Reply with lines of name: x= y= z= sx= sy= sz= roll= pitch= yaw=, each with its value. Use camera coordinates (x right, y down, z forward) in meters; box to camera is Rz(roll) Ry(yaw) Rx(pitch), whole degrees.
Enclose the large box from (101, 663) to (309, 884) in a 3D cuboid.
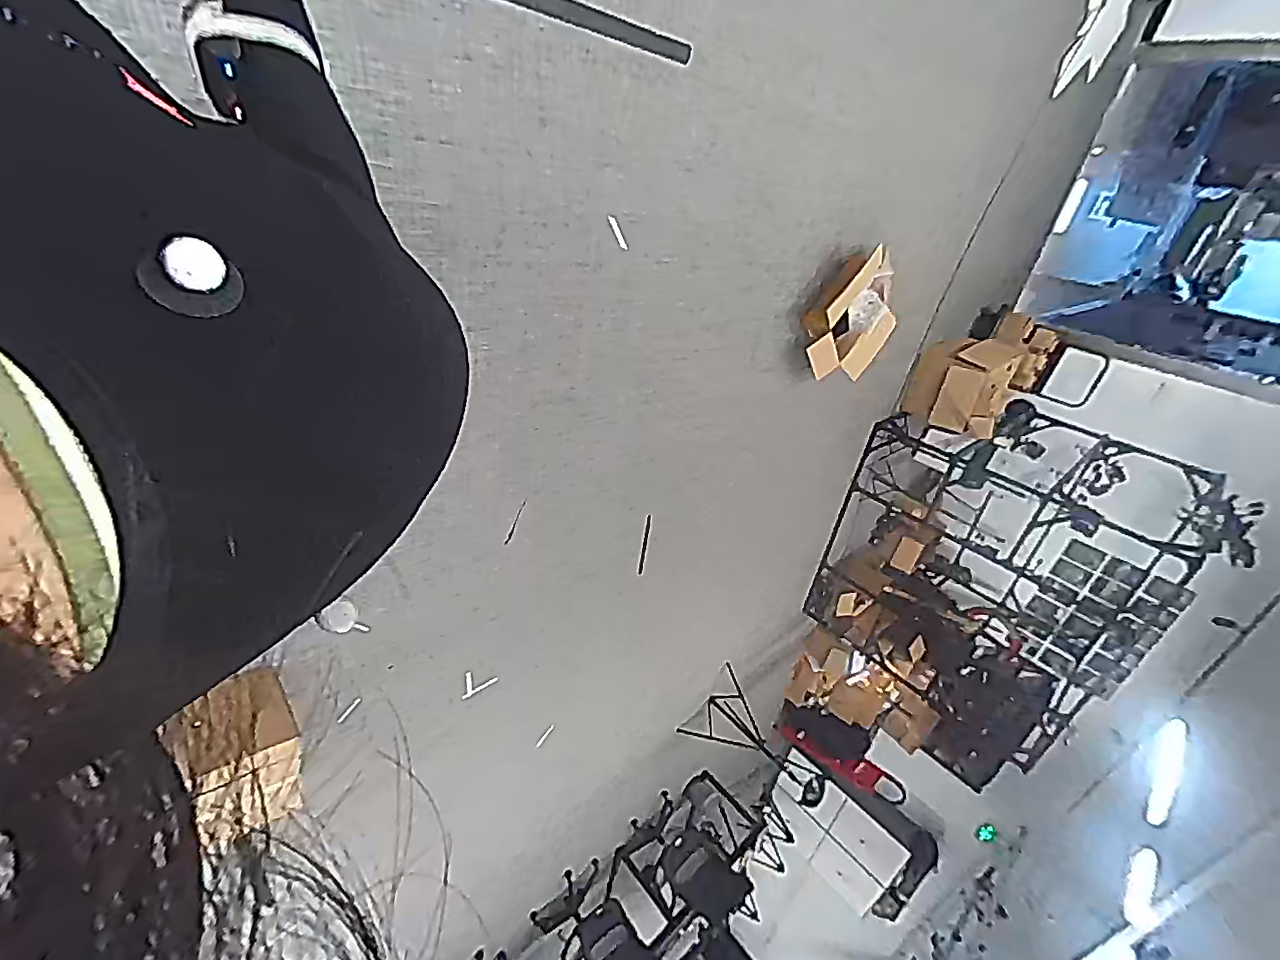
large box: x=-1.213 y=0.798 z=1.534 sx=0.408 sy=0.320 sz=0.320 roll=-12 pitch=125 yaw=-45
